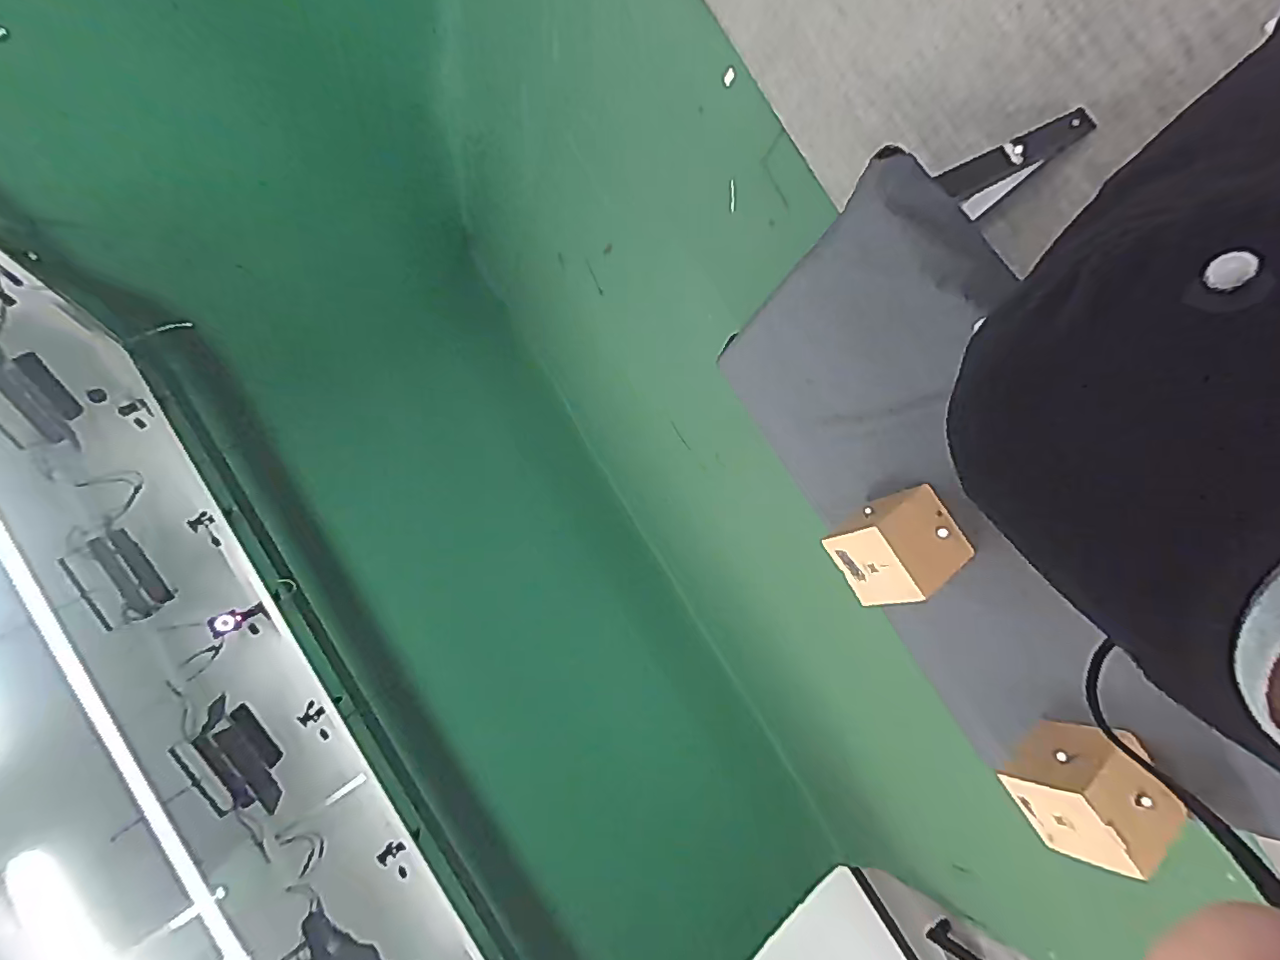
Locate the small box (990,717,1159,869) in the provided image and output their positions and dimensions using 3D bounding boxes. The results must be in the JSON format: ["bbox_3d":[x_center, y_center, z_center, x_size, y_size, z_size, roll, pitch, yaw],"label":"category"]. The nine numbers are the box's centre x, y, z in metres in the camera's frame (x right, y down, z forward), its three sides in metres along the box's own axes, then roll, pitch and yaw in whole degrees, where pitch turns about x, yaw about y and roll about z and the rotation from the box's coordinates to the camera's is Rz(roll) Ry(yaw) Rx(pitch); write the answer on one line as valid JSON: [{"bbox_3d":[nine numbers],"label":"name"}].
[{"bbox_3d":[0.827,0.577,1.026,0.168,0.176,0.179,56,156,6],"label":"small box"}]

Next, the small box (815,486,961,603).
[{"bbox_3d":[0.509,0.134,1.114,0.168,0.176,0.179,57,155,3],"label":"small box"}]
